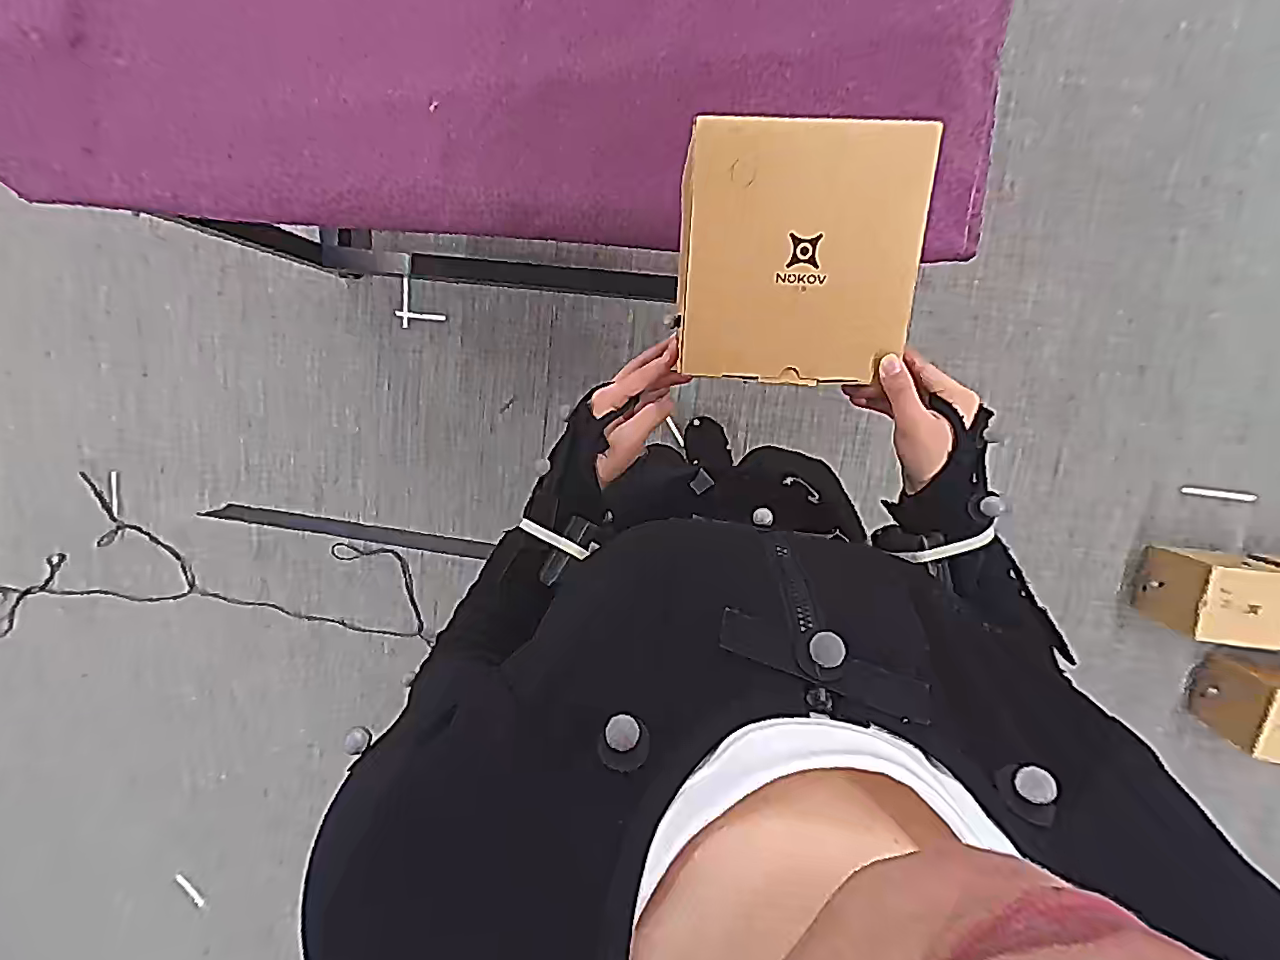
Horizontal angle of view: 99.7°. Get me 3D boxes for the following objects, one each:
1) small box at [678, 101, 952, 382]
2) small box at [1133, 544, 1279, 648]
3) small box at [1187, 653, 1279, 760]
[{"bbox_3d":[0.121,-0.181,0.451,0.168,0.176,0.179,3,107,1],"label":"small box"},{"bbox_3d":[1.265,0.248,1.195,0.179,0.176,0.168,6,99,6],"label":"small box"},{"bbox_3d":[1.422,0.513,1.221,0.179,0.176,0.168,10,100,6],"label":"small box"}]
